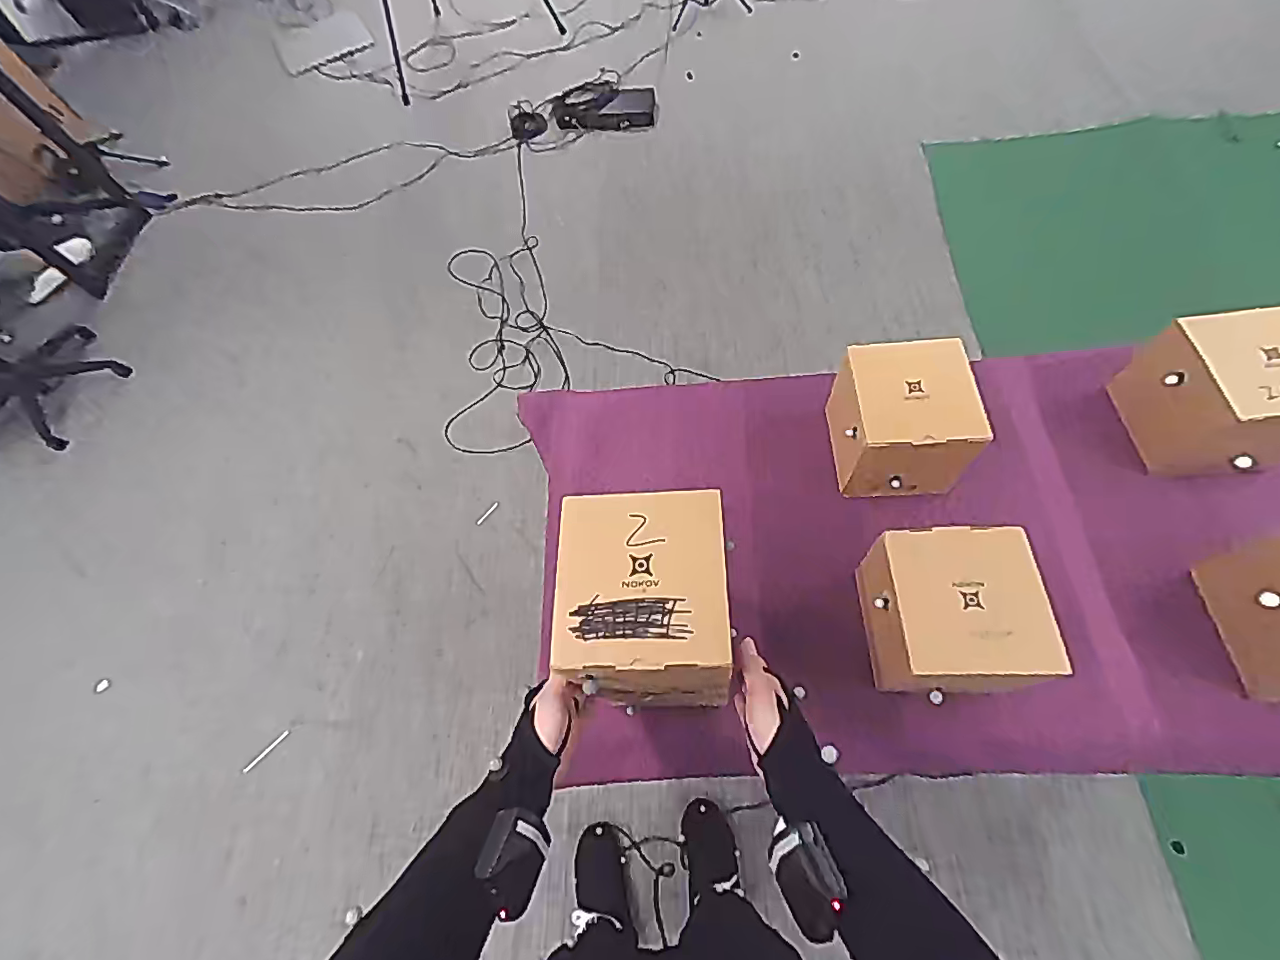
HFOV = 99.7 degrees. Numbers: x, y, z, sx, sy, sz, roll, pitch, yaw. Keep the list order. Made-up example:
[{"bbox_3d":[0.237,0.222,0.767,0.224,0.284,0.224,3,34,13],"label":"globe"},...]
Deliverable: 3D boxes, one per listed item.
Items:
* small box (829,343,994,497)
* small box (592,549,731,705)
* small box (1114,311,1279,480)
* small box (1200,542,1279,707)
[{"bbox_3d":[0.402,-0.088,0.838,0.168,0.176,0.179,-2,64,5],"label":"small box"},{"bbox_3d":[0.035,0.205,0.730,0.168,0.176,0.179,-2,62,6],"label":"small box"},{"bbox_3d":[0.854,-0.118,0.788,0.168,0.176,0.179,-5,63,8],"label":"small box"},{"bbox_3d":[0.846,0.166,0.643,0.168,0.176,0.179,-2,60,8],"label":"small box"}]
